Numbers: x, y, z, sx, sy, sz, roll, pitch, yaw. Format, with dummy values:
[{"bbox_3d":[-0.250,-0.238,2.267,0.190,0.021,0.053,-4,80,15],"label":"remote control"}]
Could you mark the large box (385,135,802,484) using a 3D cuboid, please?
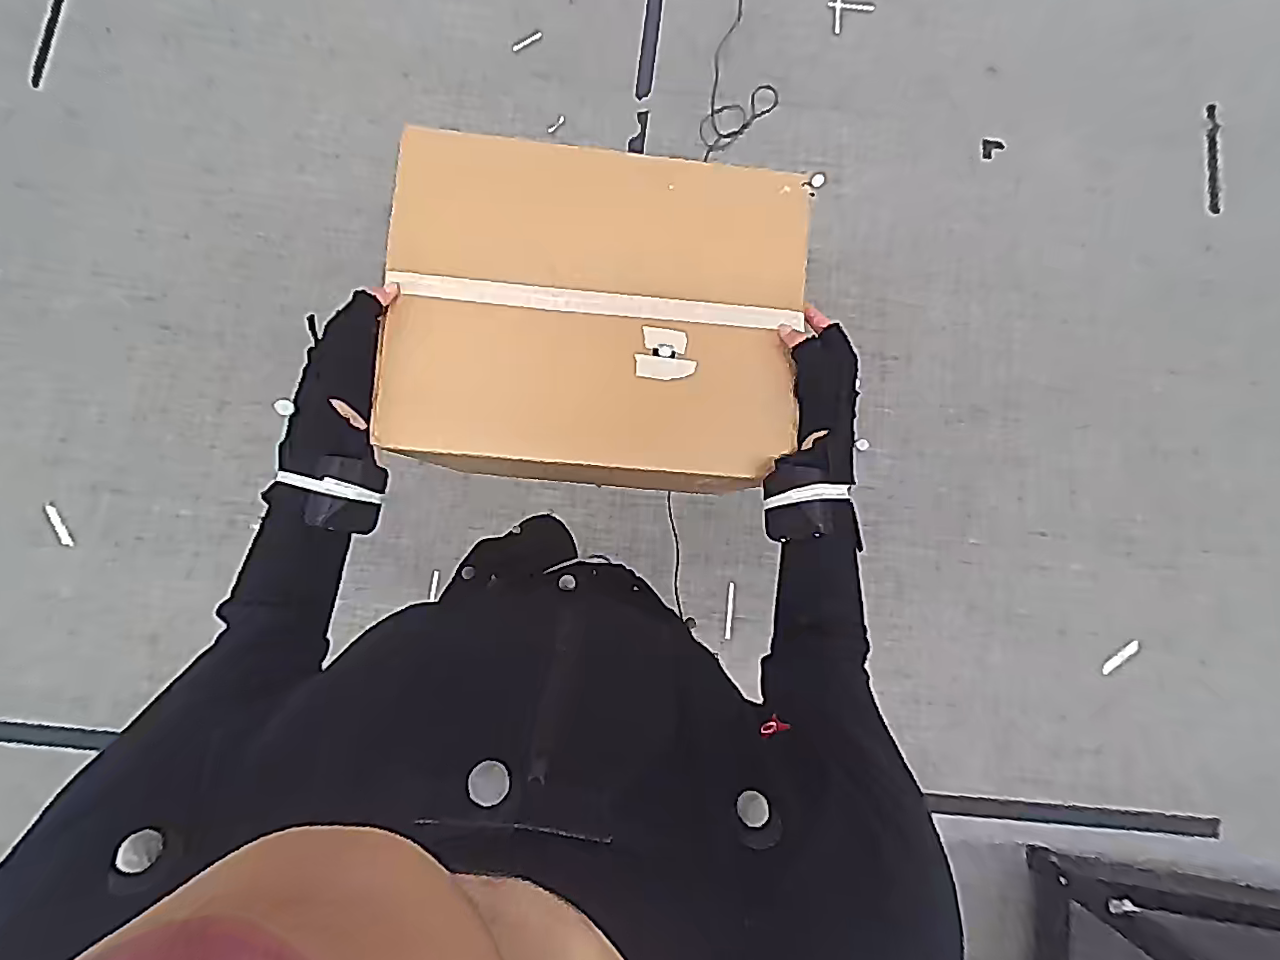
[{"bbox_3d":[-0.052,-0.168,0.687,0.408,0.320,0.320,5,87,-5],"label":"large box"}]
